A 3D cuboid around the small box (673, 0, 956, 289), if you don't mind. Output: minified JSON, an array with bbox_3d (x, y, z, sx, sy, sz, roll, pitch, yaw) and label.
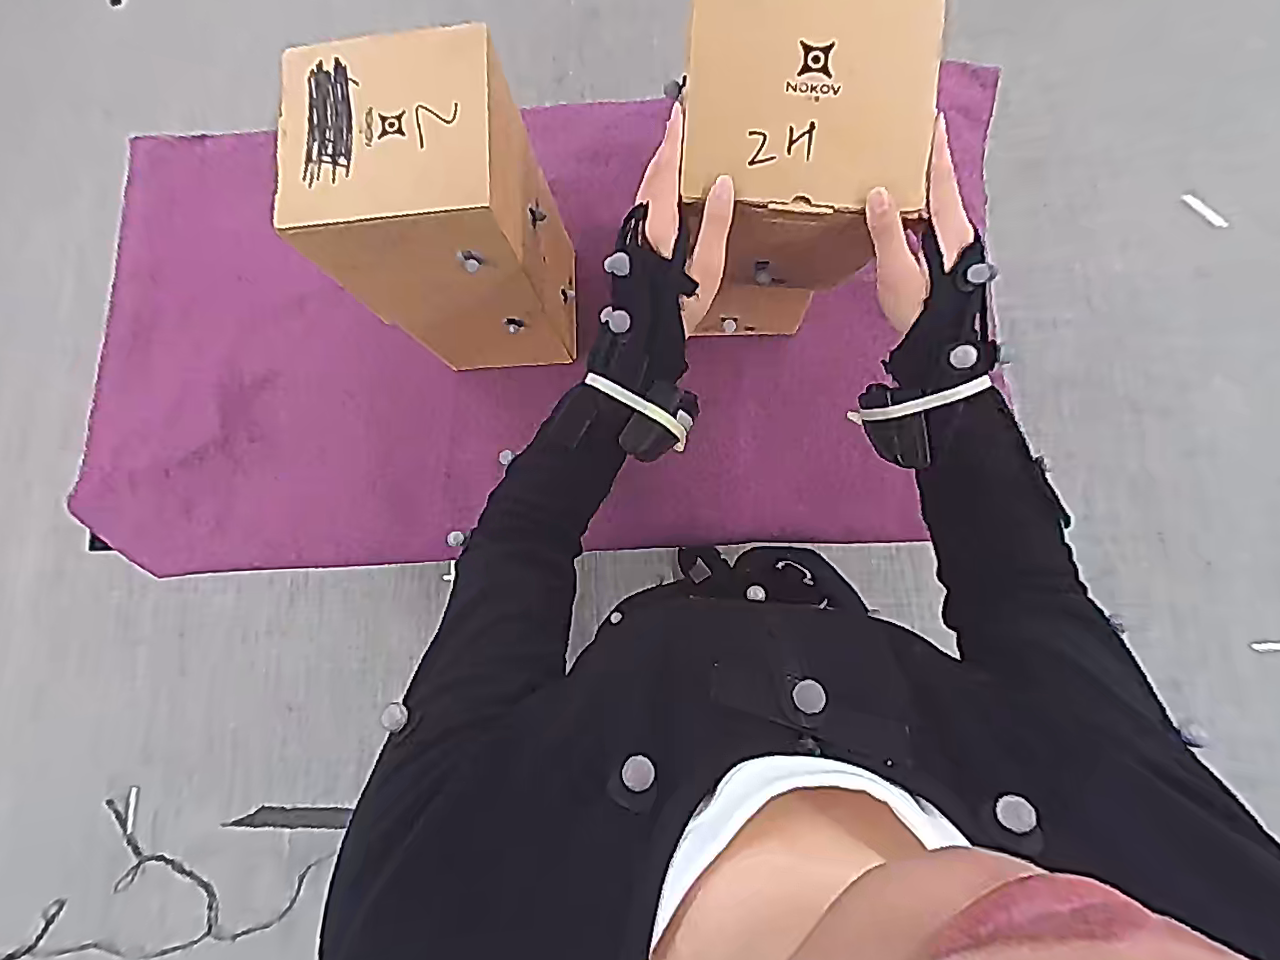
[{"bbox_3d":[0.117,-0.271,0.428,0.168,0.176,0.179,5,93,1],"label":"small box"}]

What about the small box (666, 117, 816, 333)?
[{"bbox_3d":[0.117,-0.291,0.640,0.168,0.176,0.179,1,82,6],"label":"small box"}]

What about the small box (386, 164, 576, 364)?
[{"bbox_3d":[-0.183,-0.250,0.665,0.179,0.176,0.168,-3,81,4],"label":"small box"}]
